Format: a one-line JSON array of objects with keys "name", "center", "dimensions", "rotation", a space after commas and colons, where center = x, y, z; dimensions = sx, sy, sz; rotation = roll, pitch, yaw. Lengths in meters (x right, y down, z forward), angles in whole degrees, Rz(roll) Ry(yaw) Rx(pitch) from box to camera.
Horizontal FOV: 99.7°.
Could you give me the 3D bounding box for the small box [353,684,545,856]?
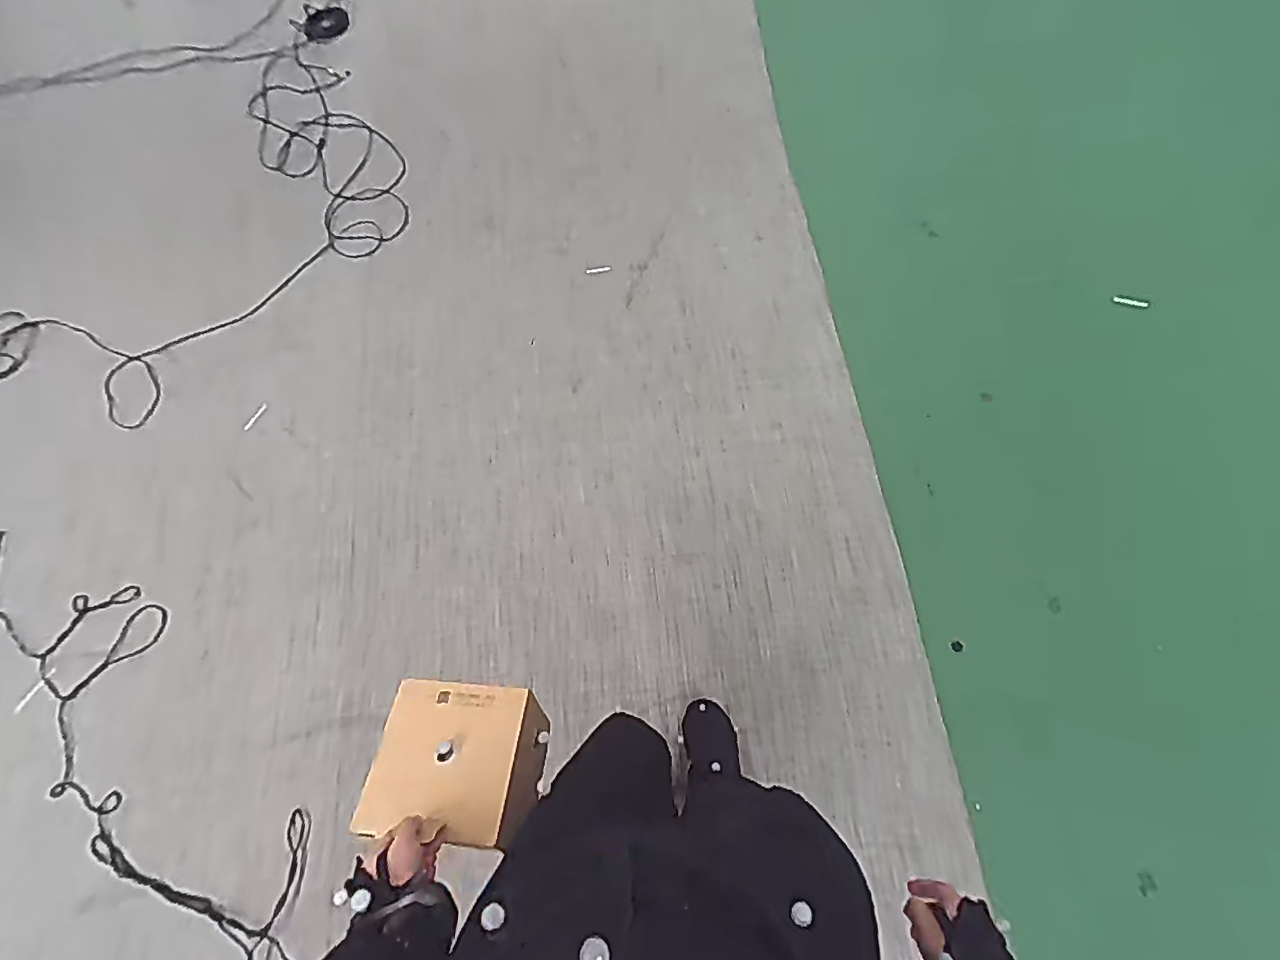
[{"name": "small box", "center": [-0.225, 0.371, 0.692], "dimensions": [0.168, 0.179, 0.176], "rotation": [3, 53, 3]}]
